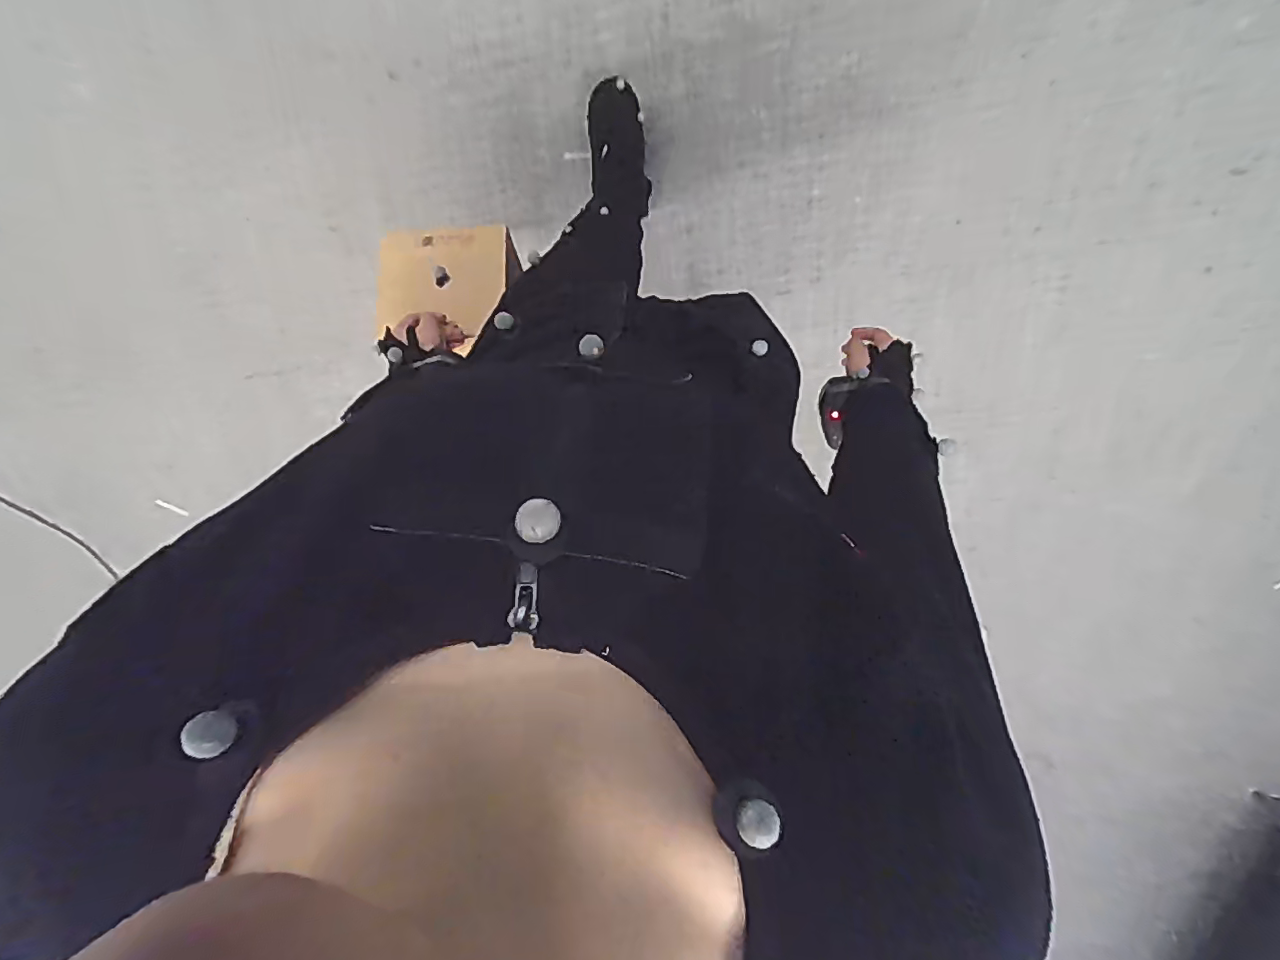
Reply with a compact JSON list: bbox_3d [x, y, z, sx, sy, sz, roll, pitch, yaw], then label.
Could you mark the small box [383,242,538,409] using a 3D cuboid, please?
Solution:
[{"bbox_3d":[-0.249,-0.221,0.778,0.168,0.179,0.176,-5,73,1],"label":"small box"}]
